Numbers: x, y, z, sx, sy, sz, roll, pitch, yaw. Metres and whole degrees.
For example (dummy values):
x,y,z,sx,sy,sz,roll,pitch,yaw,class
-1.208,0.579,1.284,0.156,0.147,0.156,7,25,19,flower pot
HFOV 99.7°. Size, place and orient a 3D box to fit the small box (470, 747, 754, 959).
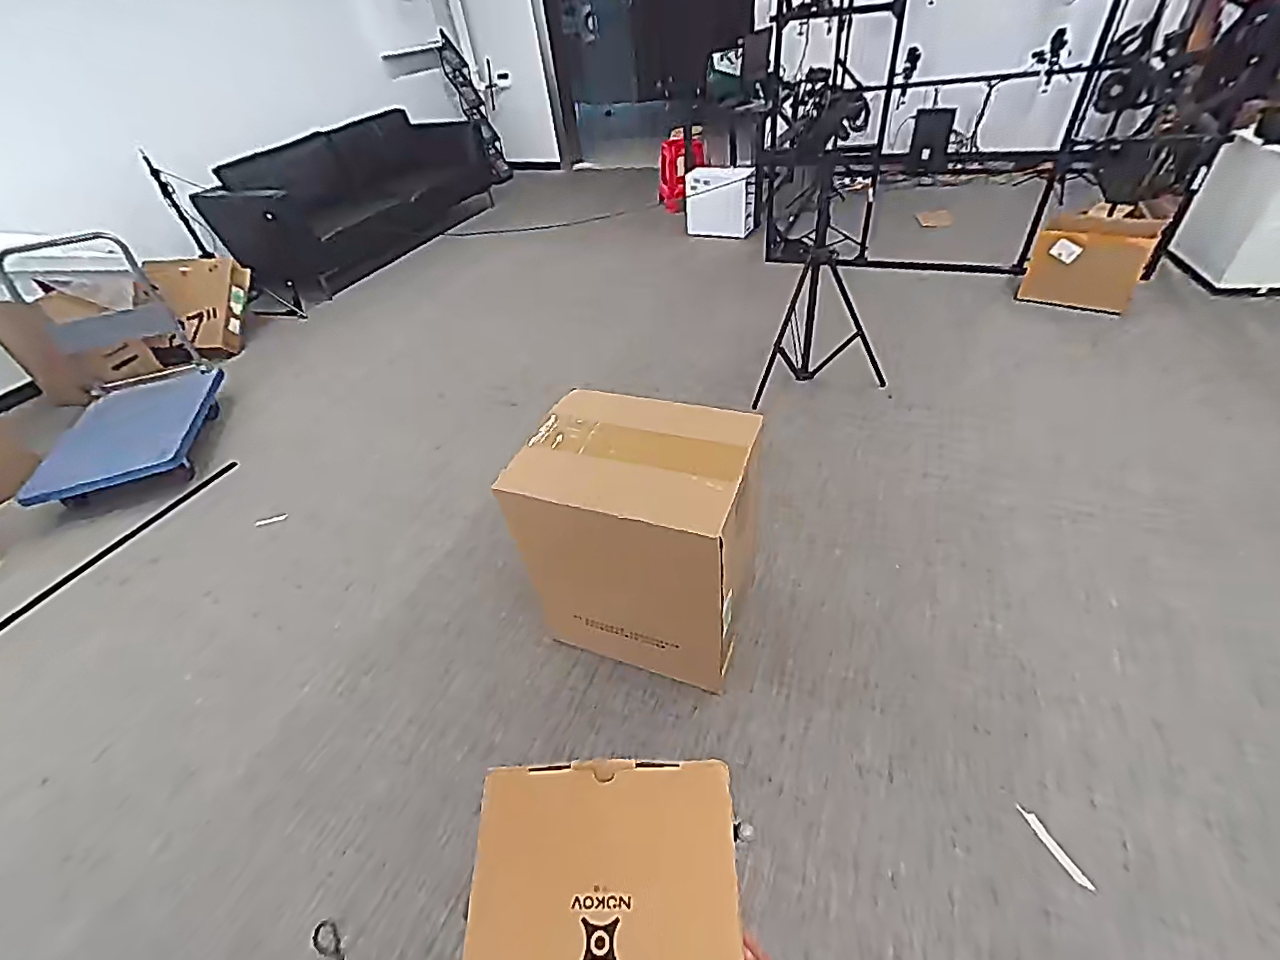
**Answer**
x,y,z,sx,sy,sz,roll,pitch,yaw,class
-0.007,0.297,0.380,0.168,0.176,0.179,-4,55,5,small box
